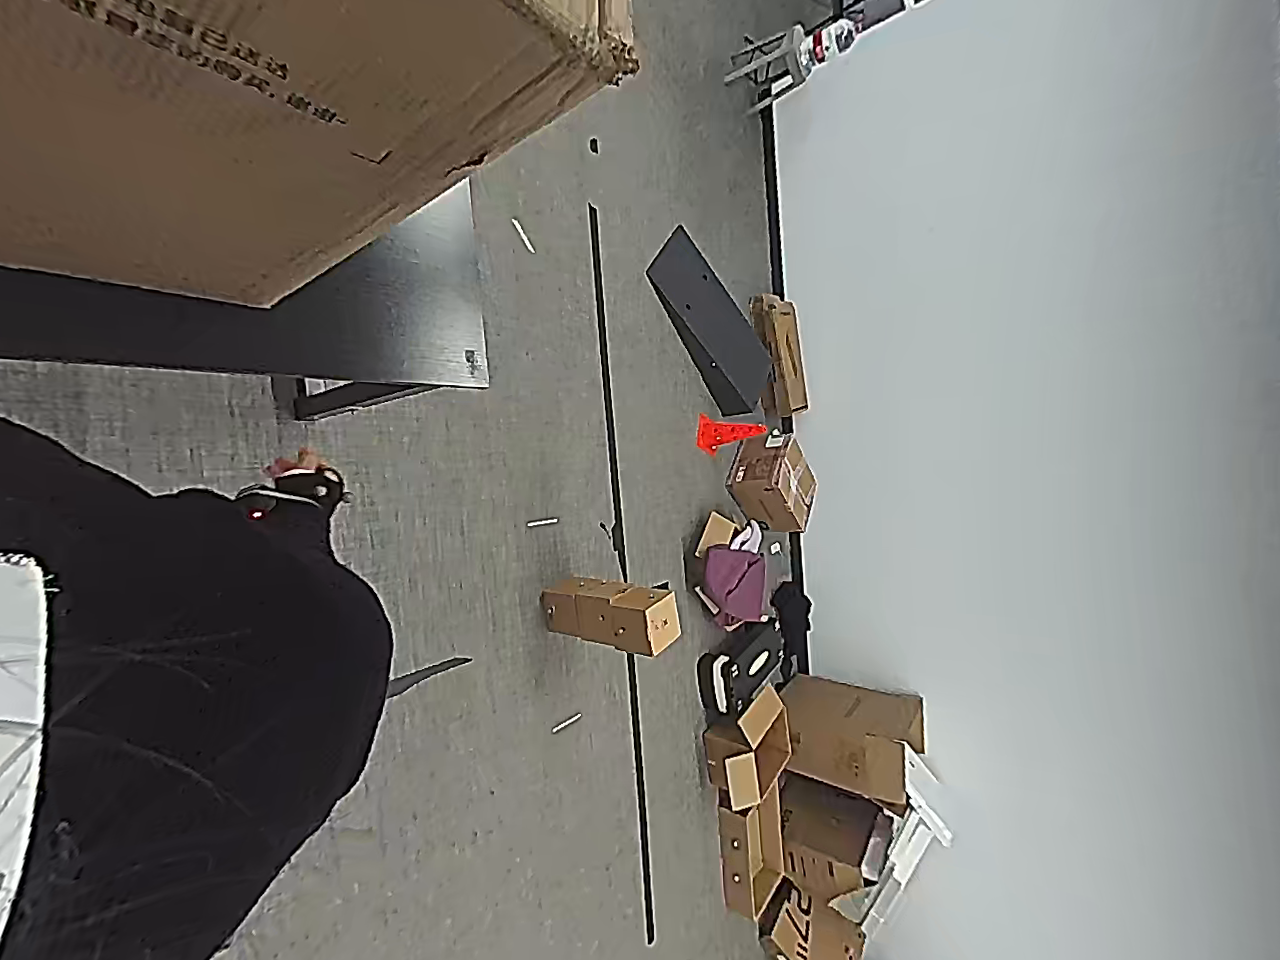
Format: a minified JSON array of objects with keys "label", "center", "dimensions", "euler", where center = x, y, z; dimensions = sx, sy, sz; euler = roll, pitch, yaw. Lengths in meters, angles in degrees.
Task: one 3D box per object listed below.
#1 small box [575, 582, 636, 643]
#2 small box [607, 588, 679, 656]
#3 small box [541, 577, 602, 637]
[{"label":"small box","center":[-0.119,0.478,1.971],"dimensions":[0.168,0.176,0.179],"euler":[-14,100,-52]},{"label":"small box","center":[0.010,0.481,1.867],"dimensions":[0.179,0.176,0.168],"euler":[-20,103,-51]},{"label":"small box","center":[-0.251,0.479,2.069],"dimensions":[0.179,0.176,0.168],"euler":[-17,101,-50]}]
